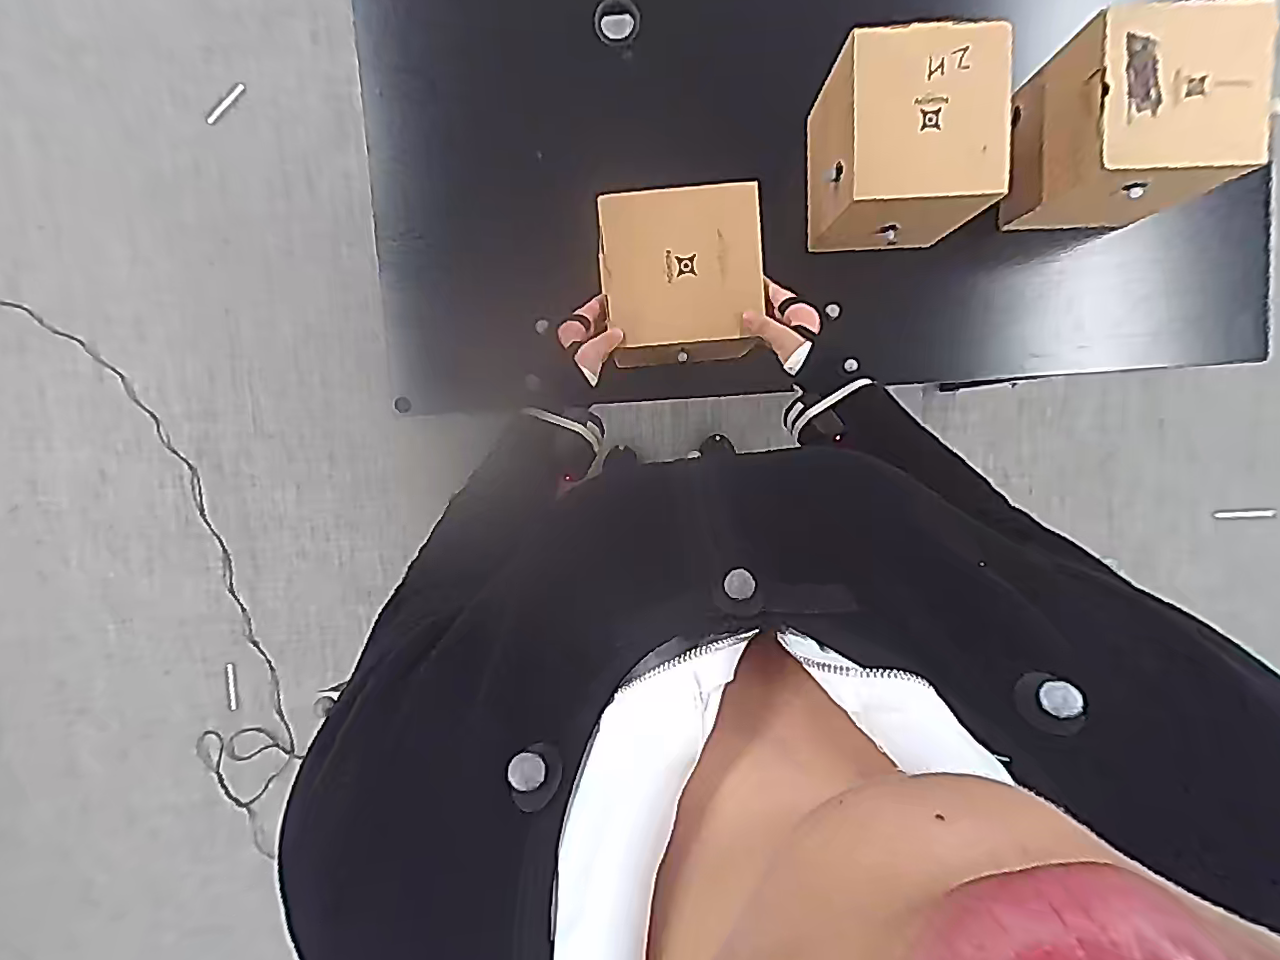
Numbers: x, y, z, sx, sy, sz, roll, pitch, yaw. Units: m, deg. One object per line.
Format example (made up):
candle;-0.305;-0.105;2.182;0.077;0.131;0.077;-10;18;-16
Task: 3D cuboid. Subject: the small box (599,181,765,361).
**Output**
small box;0.049;-0.246;0.677;0.179;0.176;0.168;-5;95;1

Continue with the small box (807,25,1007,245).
small box;0.308;-0.398;0.658;0.168;0.176;0.179;-2;94;1

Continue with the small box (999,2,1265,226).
small box;0.568;-0.420;0.651;0.179;0.176;0.168;-1;94;1
